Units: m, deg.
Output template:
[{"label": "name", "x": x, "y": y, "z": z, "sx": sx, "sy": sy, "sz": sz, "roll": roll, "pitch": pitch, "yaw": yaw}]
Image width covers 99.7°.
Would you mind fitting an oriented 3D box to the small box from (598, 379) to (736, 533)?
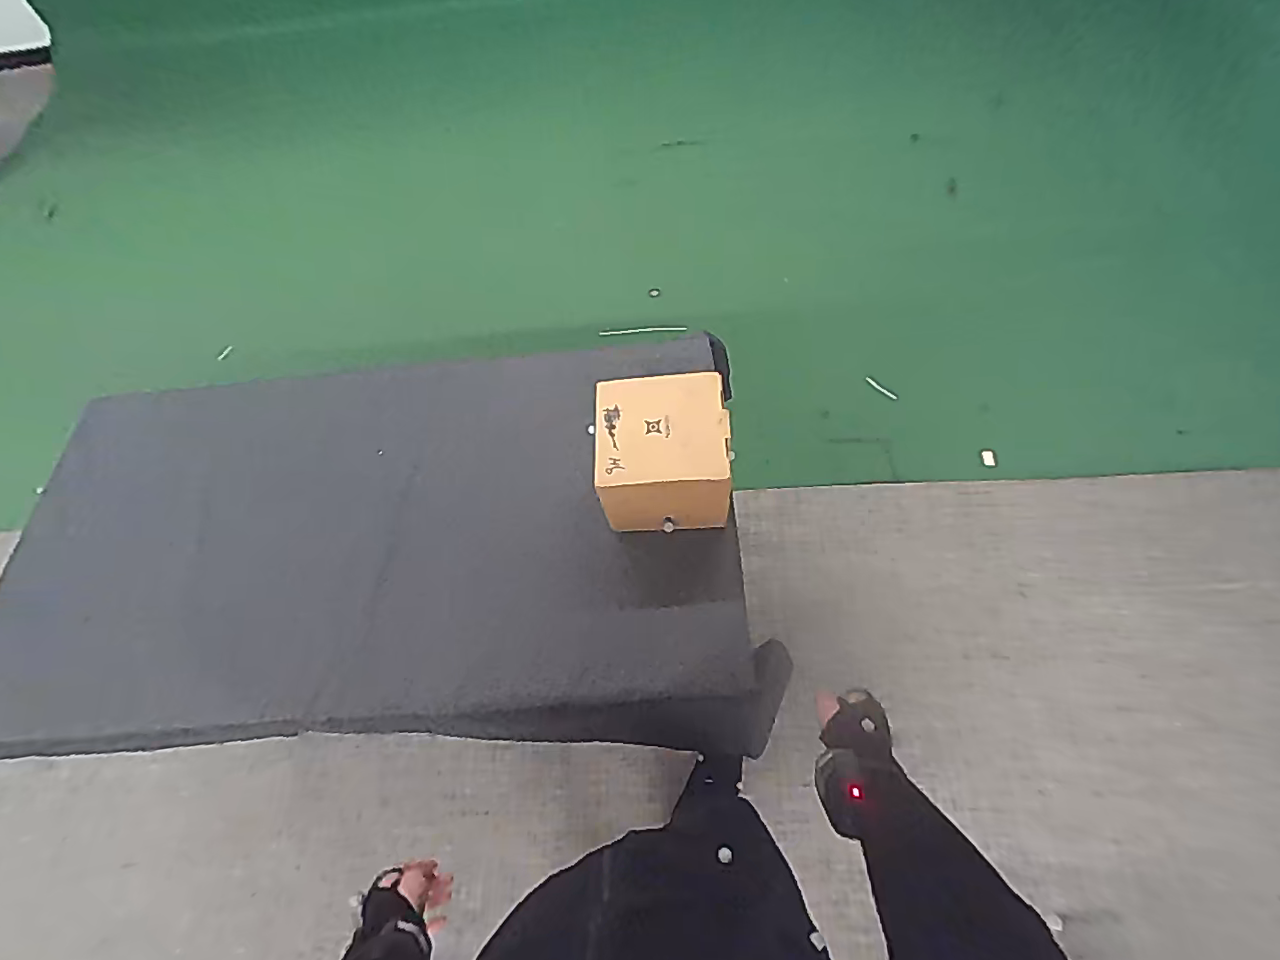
[{"label": "small box", "x": 0.037, "y": -0.029, "z": 0.782, "sx": 0.179, "sy": 0.176, "sz": 0.168, "roll": -2, "pitch": 63, "yaw": 3}]
